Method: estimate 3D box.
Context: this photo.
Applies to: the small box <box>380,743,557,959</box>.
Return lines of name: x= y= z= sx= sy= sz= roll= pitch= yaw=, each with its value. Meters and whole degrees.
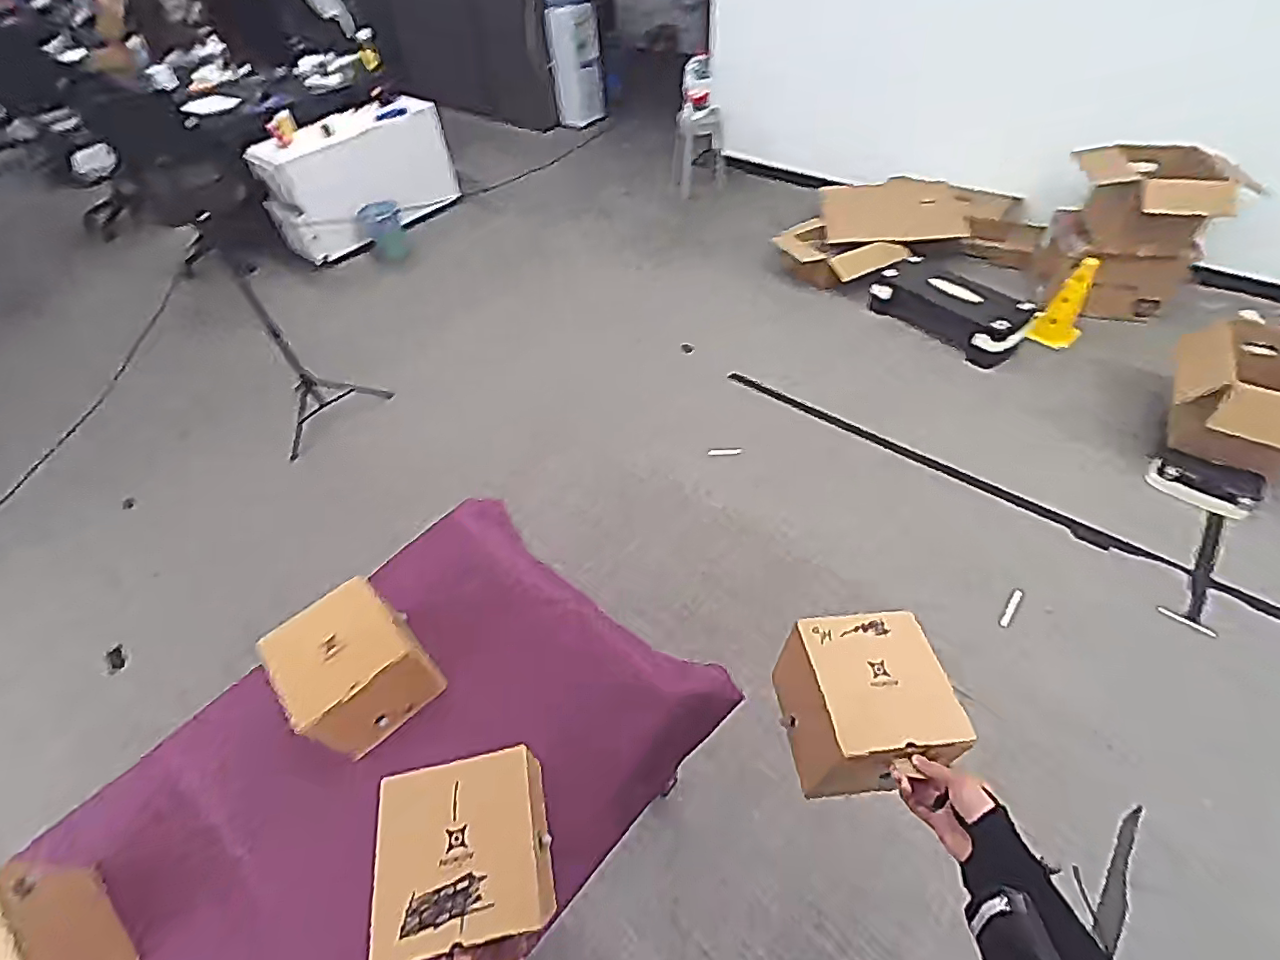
small box: x=-0.196 y=0.438 z=0.650 sx=0.168 sy=0.176 sz=0.179 roll=-9 pitch=56 yaw=-10

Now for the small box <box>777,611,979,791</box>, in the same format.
small box: x=0.297 y=0.298 z=0.720 sx=0.168 sy=0.176 sz=0.179 roll=-2 pitch=45 yaw=-5

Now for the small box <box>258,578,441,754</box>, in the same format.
small box: x=-0.449 y=0.297 z=0.856 sx=0.168 sy=0.176 sz=0.179 roll=-38 pitch=58 yaw=-24

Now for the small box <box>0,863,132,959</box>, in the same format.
small box: x=-0.764 y=0.594 z=0.630 sx=0.179 sy=0.176 sz=0.168 roll=29 pitch=58 yaw=25
